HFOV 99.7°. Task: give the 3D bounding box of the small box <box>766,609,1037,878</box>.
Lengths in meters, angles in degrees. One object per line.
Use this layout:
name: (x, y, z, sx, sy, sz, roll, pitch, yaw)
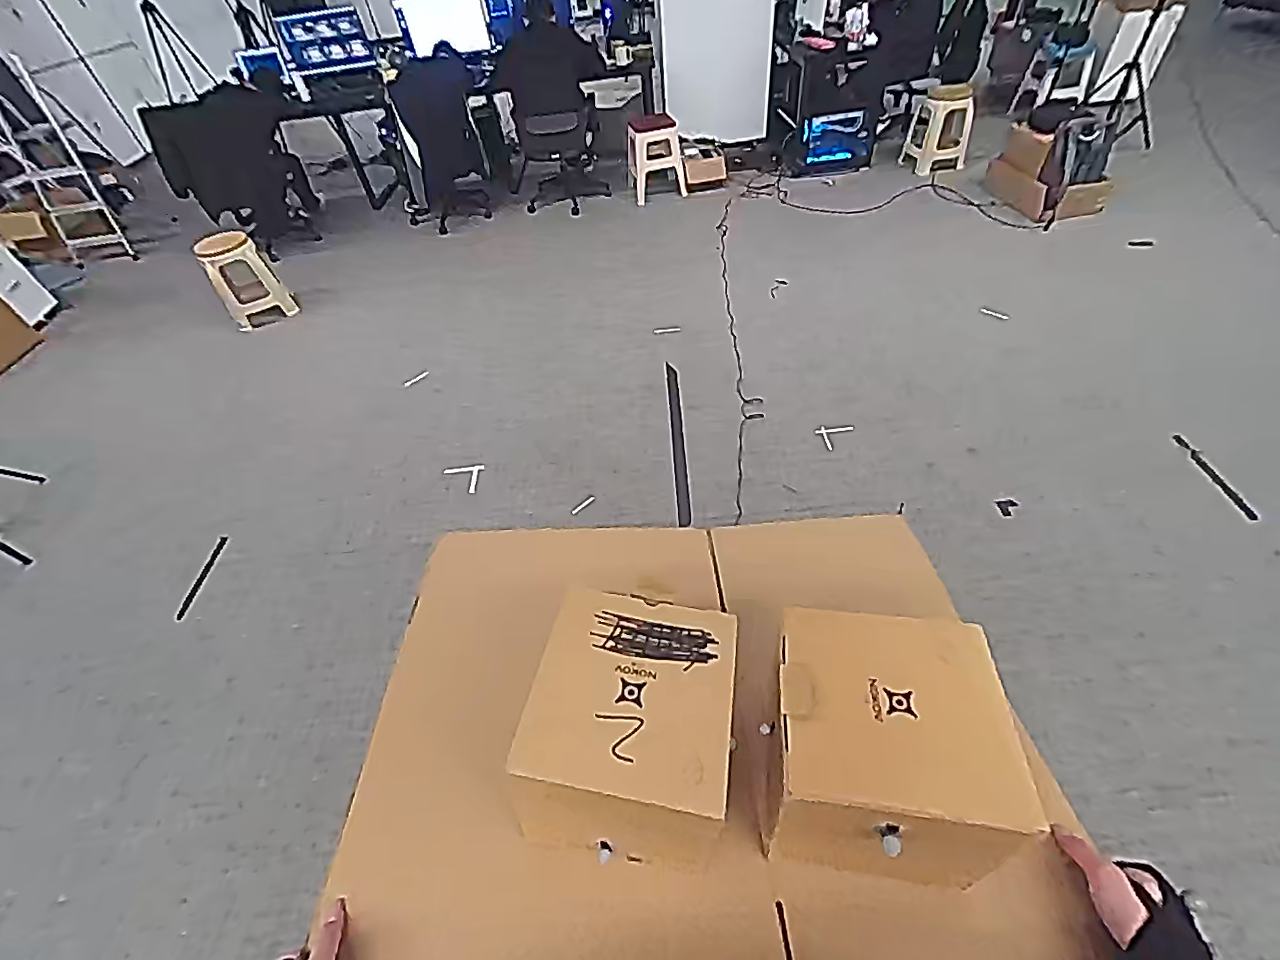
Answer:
small box: (0.216, 0.245, 0.504, 0.179, 0.176, 0.168, 3, 43, 11)
